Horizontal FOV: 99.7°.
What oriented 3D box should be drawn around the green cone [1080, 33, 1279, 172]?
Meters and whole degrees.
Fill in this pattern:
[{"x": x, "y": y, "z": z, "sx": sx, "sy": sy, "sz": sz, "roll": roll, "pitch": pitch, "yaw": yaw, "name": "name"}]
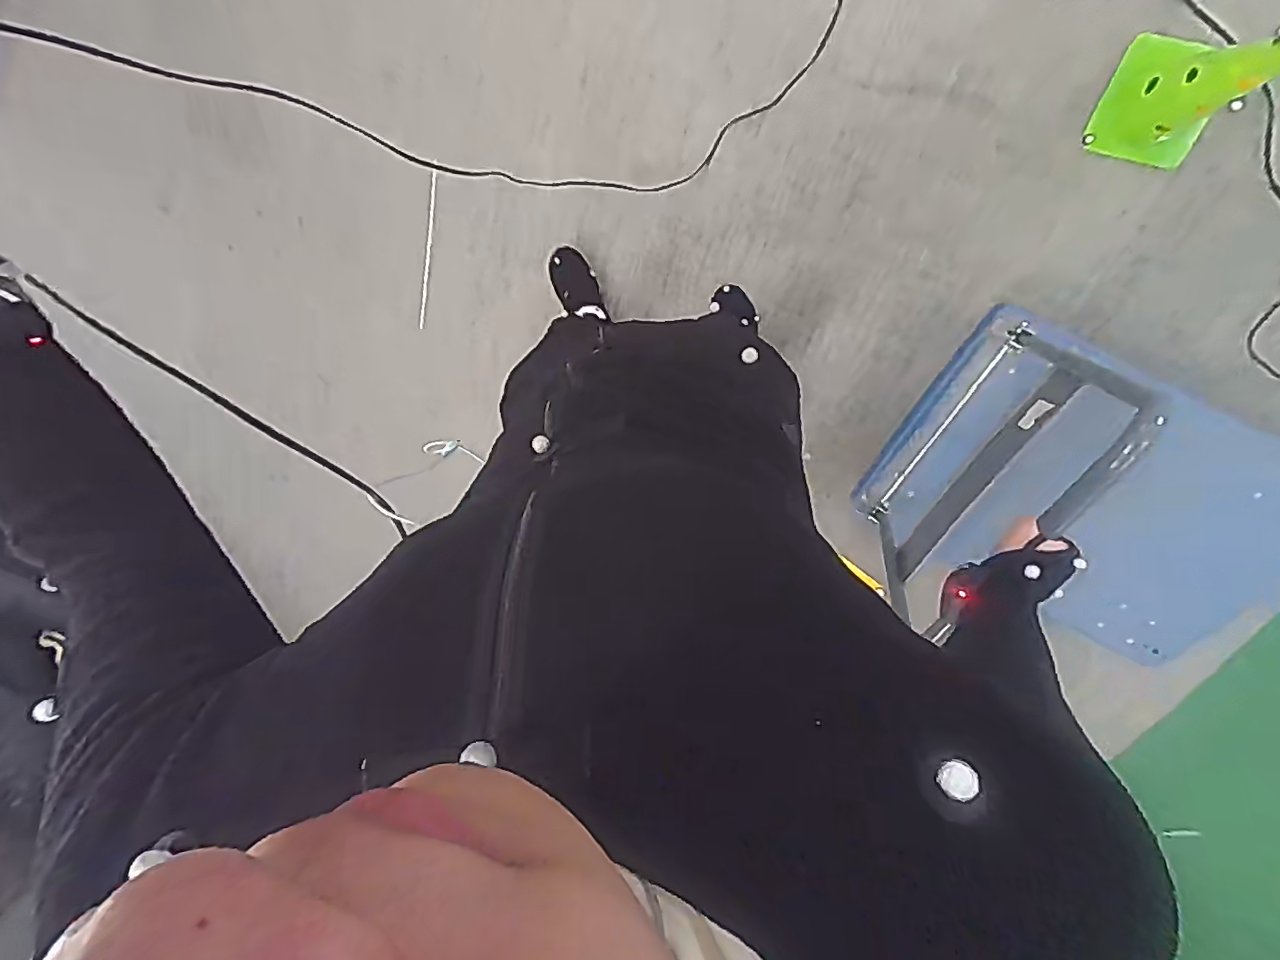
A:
[{"x": 0.983, "y": -0.675, "z": 0.920, "sx": 0.200, "sy": 0.368, "sz": 0.202, "roll": 18, "pitch": 116, "yaw": 7, "name": "green cone"}]
